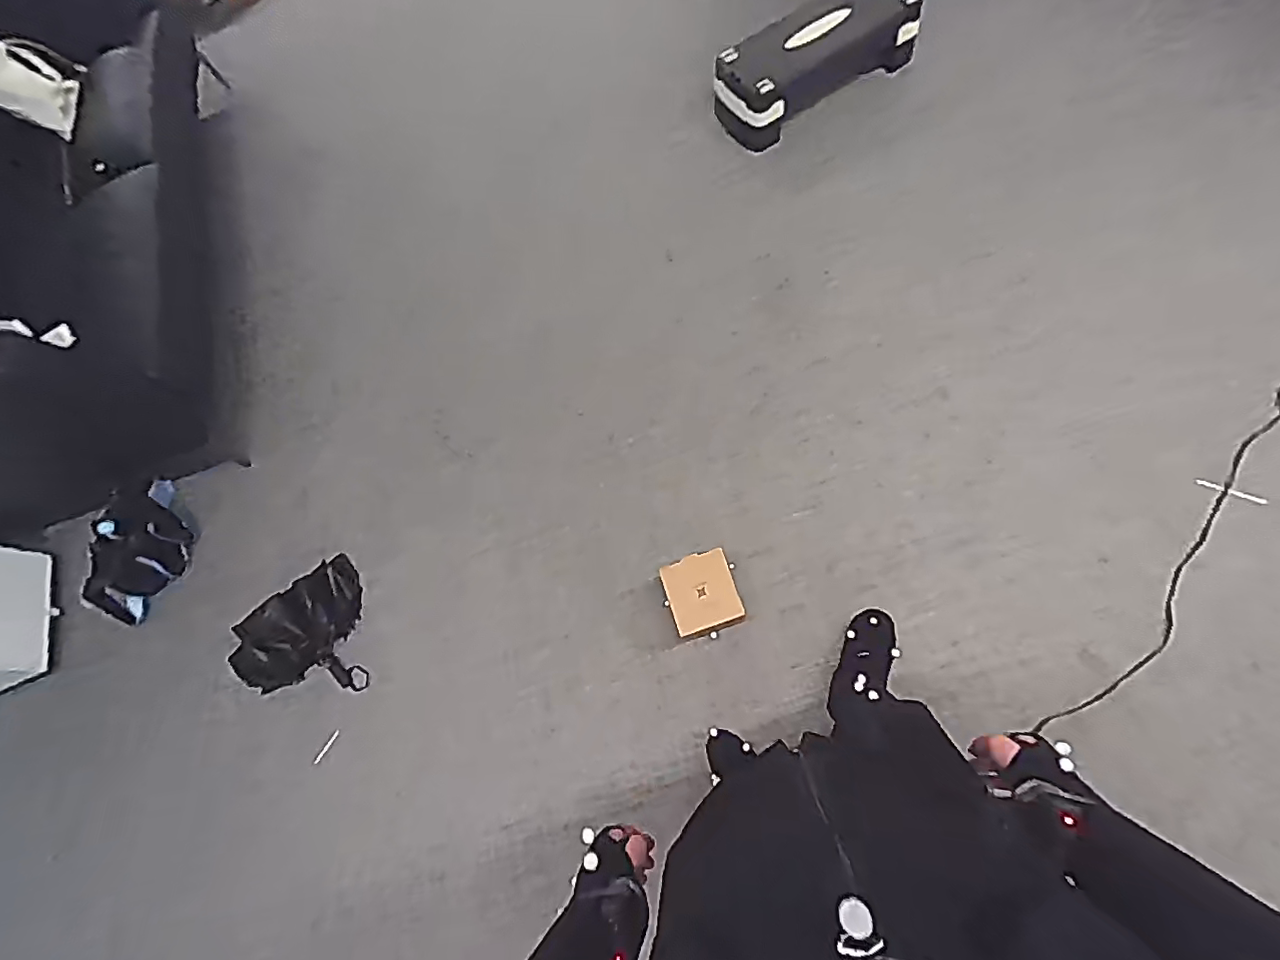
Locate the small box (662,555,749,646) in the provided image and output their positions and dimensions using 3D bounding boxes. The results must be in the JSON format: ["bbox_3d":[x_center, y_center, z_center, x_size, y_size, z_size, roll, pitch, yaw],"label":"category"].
[{"bbox_3d":[0.168,0.312,1.372,0.168,0.176,0.179,-21,69,4],"label":"small box"}]
